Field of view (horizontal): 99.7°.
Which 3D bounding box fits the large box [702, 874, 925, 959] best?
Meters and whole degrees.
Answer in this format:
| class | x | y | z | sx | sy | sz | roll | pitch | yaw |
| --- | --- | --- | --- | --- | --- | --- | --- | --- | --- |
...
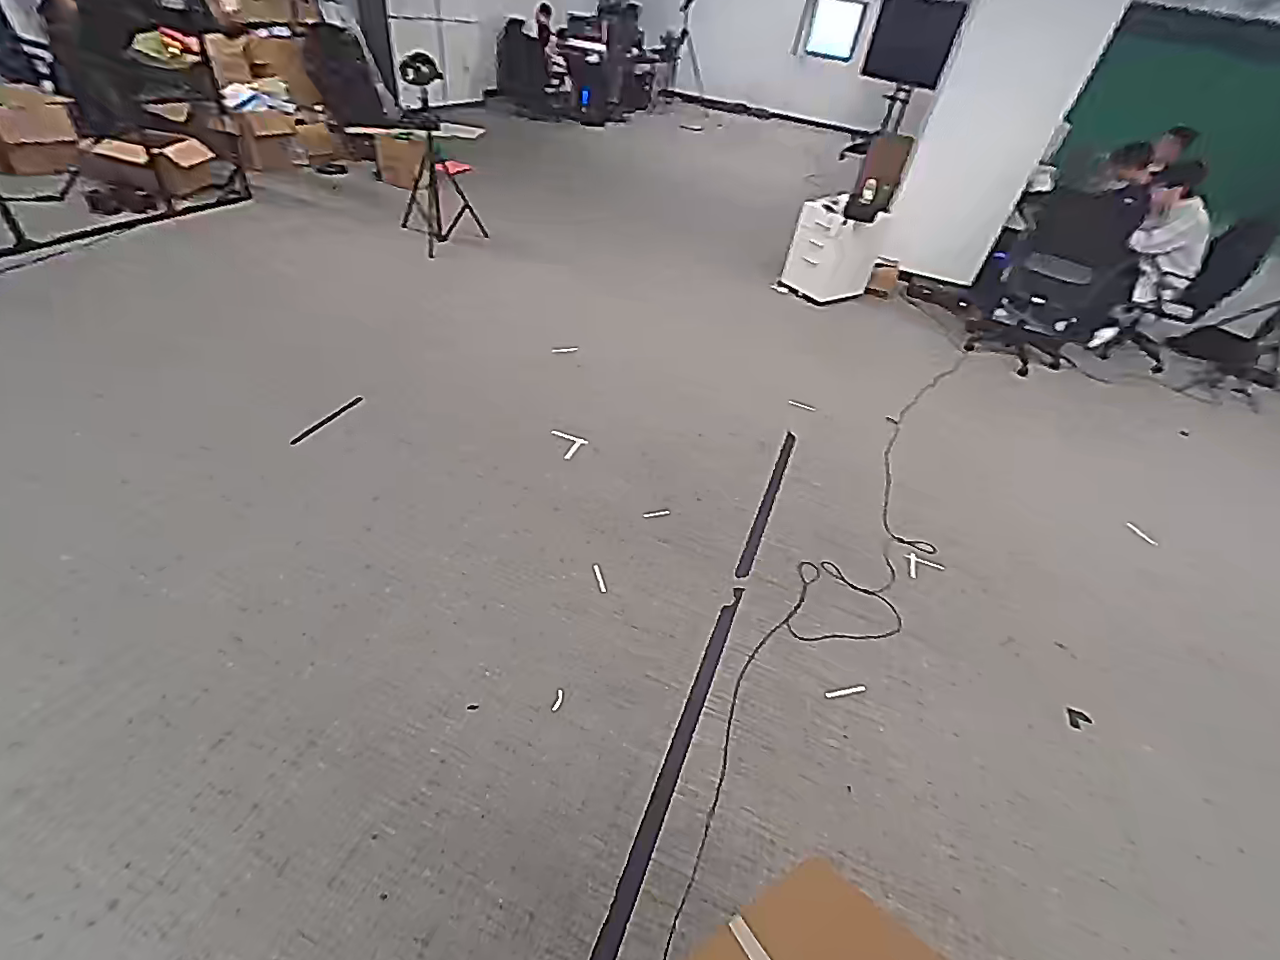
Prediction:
| class | x | y | z | sx | sy | sz | roll | pitch | yaw |
| --- | --- | --- | --- | --- | --- | --- | --- | --- | --- |
| large box | 0.252 | 0.752 | 0.597 | 0.320 | 0.408 | 0.320 | -27 | 79 | -16 |
